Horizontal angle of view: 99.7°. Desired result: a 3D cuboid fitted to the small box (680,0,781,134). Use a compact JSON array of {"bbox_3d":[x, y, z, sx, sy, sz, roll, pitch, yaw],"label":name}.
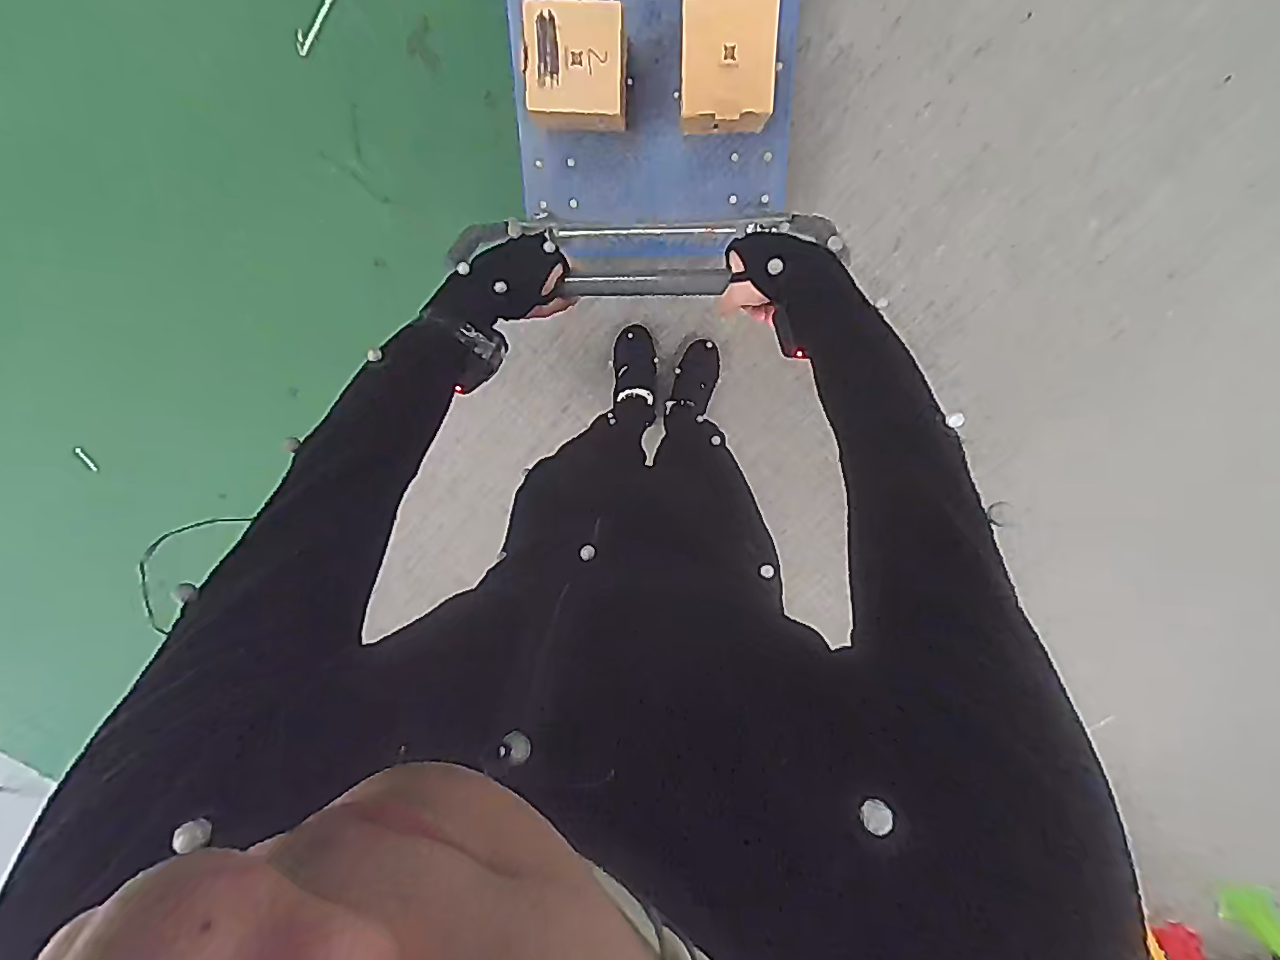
[{"bbox_3d":[0.161,-0.769,1.016,0.168,0.176,0.179,0,115,3],"label":"small box"}]
